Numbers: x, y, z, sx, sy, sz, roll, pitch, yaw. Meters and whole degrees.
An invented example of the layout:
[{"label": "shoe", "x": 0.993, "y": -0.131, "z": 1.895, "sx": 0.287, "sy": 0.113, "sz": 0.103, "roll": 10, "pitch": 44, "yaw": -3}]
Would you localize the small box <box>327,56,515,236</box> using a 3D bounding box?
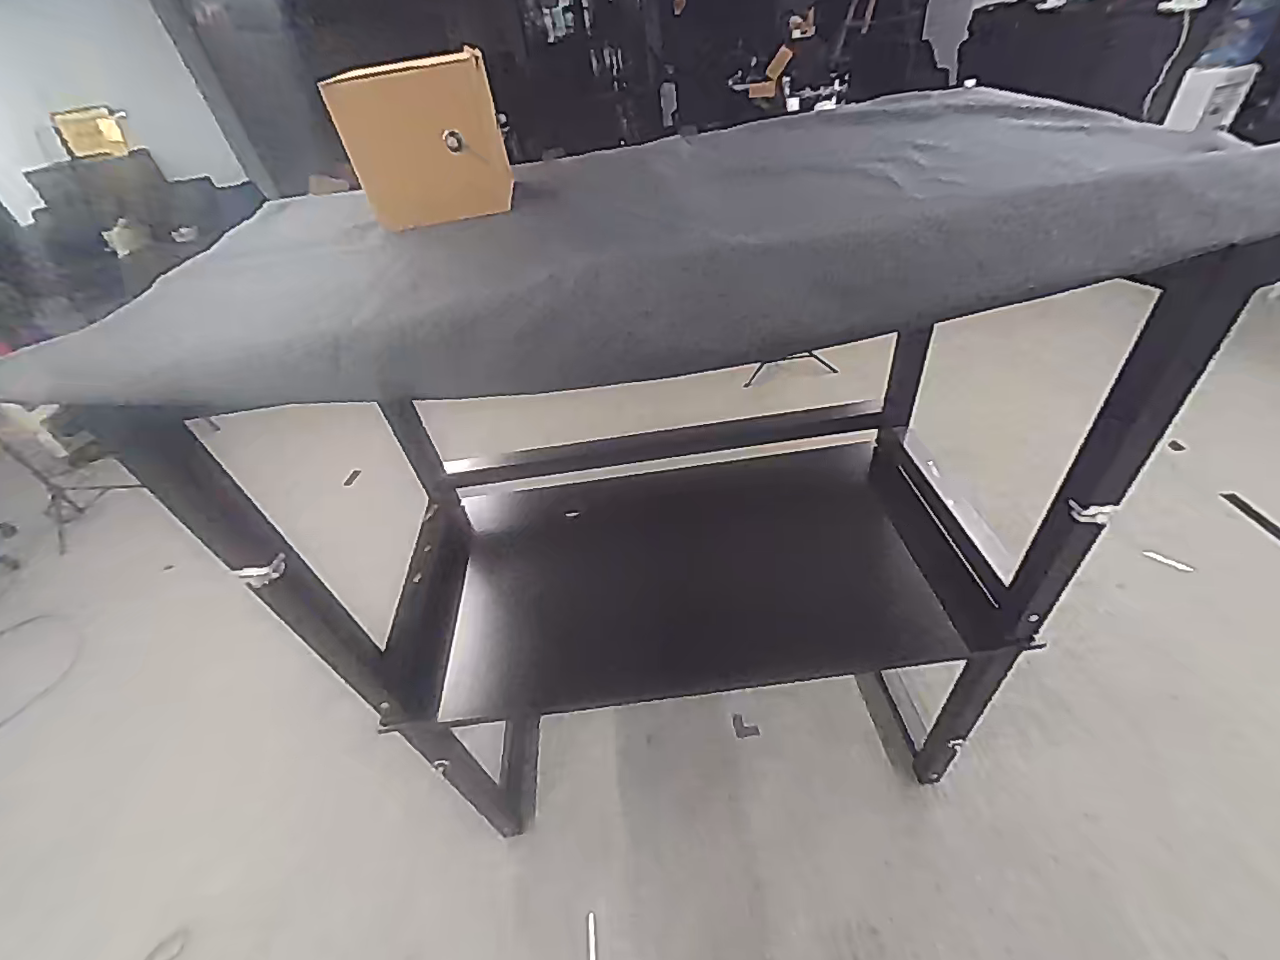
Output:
[{"label": "small box", "x": -0.275, "y": -0.451, "z": 0.732, "sx": 0.179, "sy": 0.176, "sz": 0.168, "roll": -10, "pitch": 42, "yaw": -1}]
